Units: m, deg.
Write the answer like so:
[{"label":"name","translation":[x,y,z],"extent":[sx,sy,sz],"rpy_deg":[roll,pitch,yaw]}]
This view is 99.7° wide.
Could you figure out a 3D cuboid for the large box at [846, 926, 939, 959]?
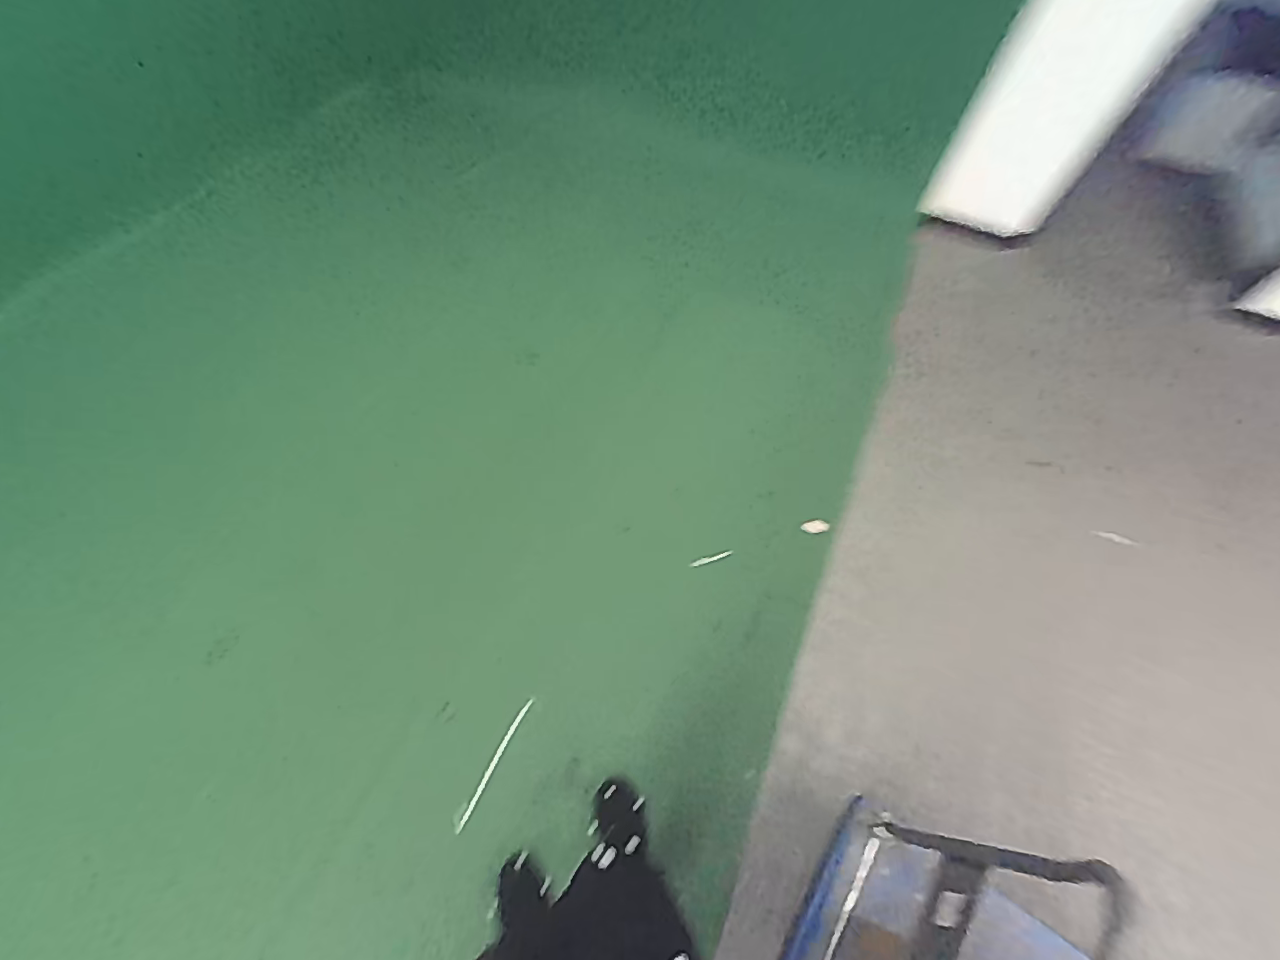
[{"label":"large box","translation":[0.554,1.059,0.897],"extent":[0.408,0.320,0.320],"rpy_deg":[32,63,13]}]
